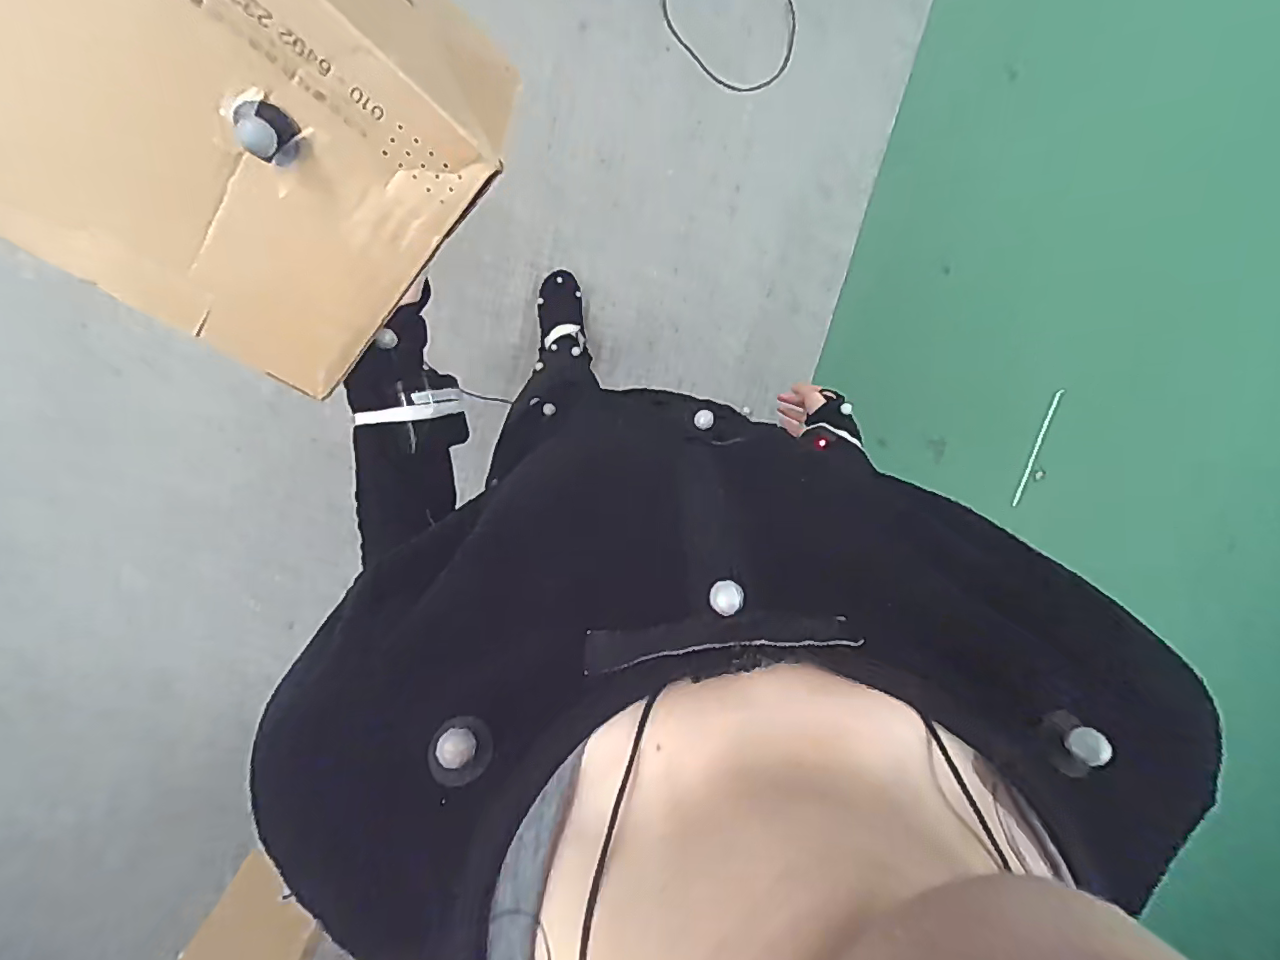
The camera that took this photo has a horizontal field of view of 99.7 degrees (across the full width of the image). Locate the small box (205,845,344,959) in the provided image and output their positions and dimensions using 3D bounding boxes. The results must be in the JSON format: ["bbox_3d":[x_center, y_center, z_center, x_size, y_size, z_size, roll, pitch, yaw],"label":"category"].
[{"bbox_3d":[-0.696,0.840,1.033,0.179,0.176,0.168,16,98,-12],"label":"small box"}]

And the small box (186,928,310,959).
[{"bbox_3d":[-0.678,0.875,0.874,0.179,0.176,0.168,17,99,-12],"label":"small box"}]

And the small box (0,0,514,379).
[{"bbox_3d":[-0.178,-0.192,0.265,0.176,0.179,0.168,-36,129,27],"label":"small box"}]
